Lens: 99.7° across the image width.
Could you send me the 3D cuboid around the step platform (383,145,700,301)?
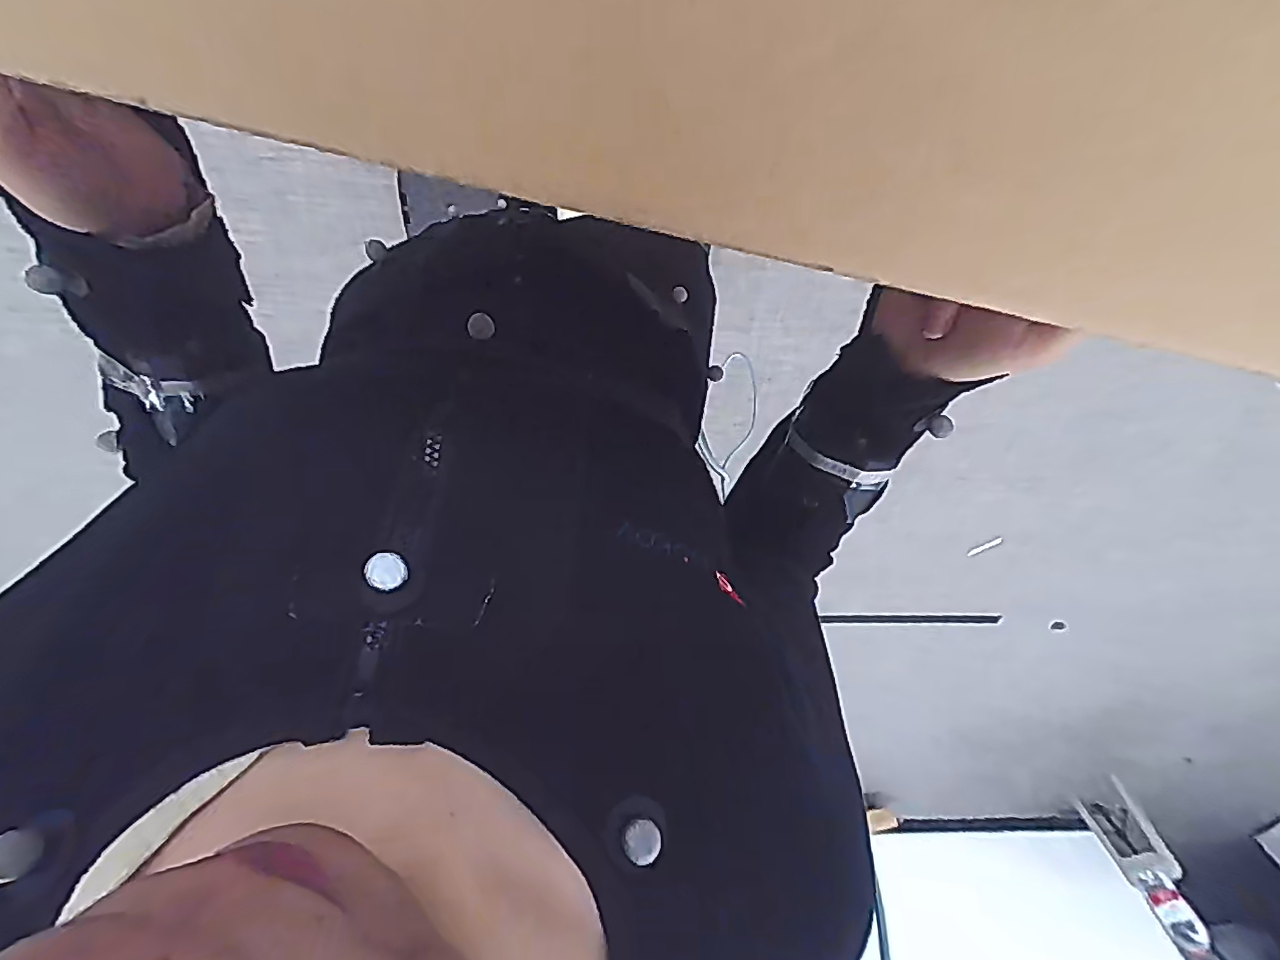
[{"bbox_3d":[-0.205,-0.607,1.223,0.684,0.204,0.286,7,126,-6],"label":"step platform"}]
